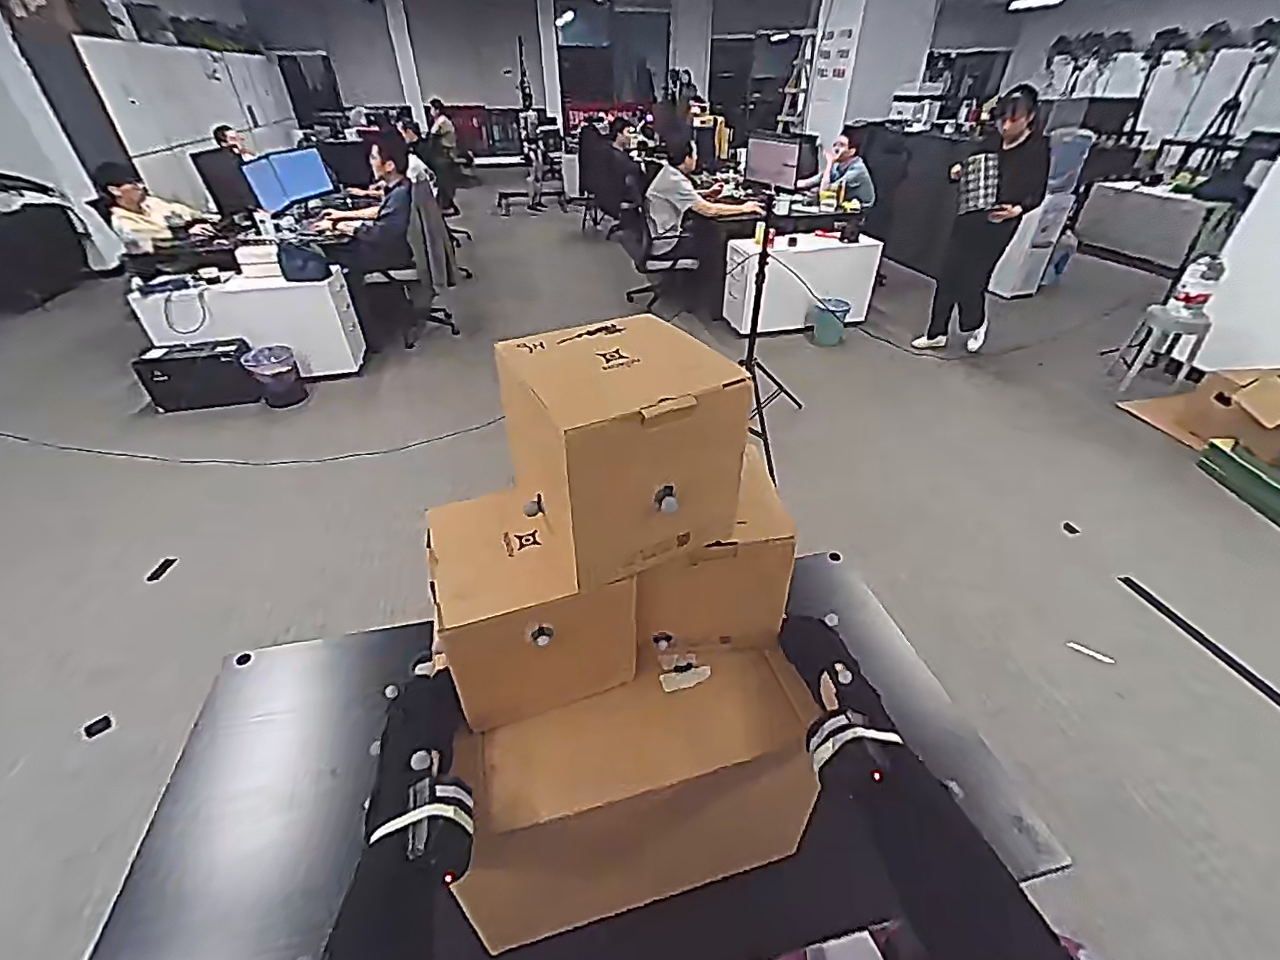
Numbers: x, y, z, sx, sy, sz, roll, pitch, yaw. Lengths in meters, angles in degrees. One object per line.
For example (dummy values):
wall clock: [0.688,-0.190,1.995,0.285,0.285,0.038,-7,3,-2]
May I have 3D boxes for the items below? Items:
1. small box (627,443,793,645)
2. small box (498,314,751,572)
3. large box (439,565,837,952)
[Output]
small box: [0.067,0.076,0.633,0.168,0.176,0.179,-3,35,-3]
small box: [-0.019,-0.035,0.511,0.168,0.176,0.179,-18,40,-22]
large box: [-0.028,0.321,0.712,0.408,0.320,0.320,-9,38,-14]
